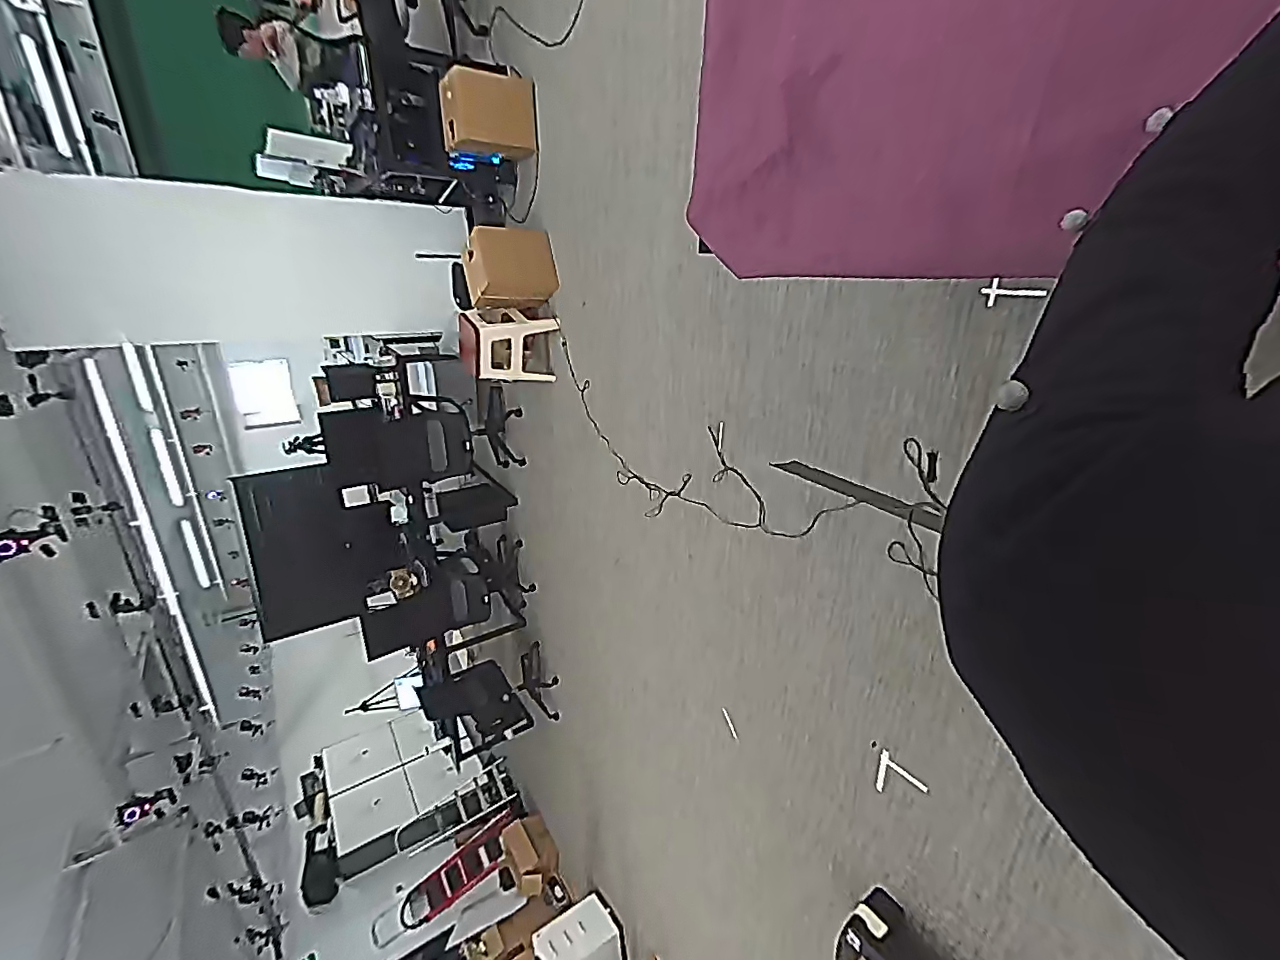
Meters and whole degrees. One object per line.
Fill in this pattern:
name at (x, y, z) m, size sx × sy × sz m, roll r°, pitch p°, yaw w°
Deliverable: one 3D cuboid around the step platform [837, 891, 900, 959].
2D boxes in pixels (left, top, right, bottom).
step platform at (0.949, 1.701, 1.680) m, size 0.684 × 0.204 × 0.286 m, roll 28°, pitch 125°, yaw 49°
